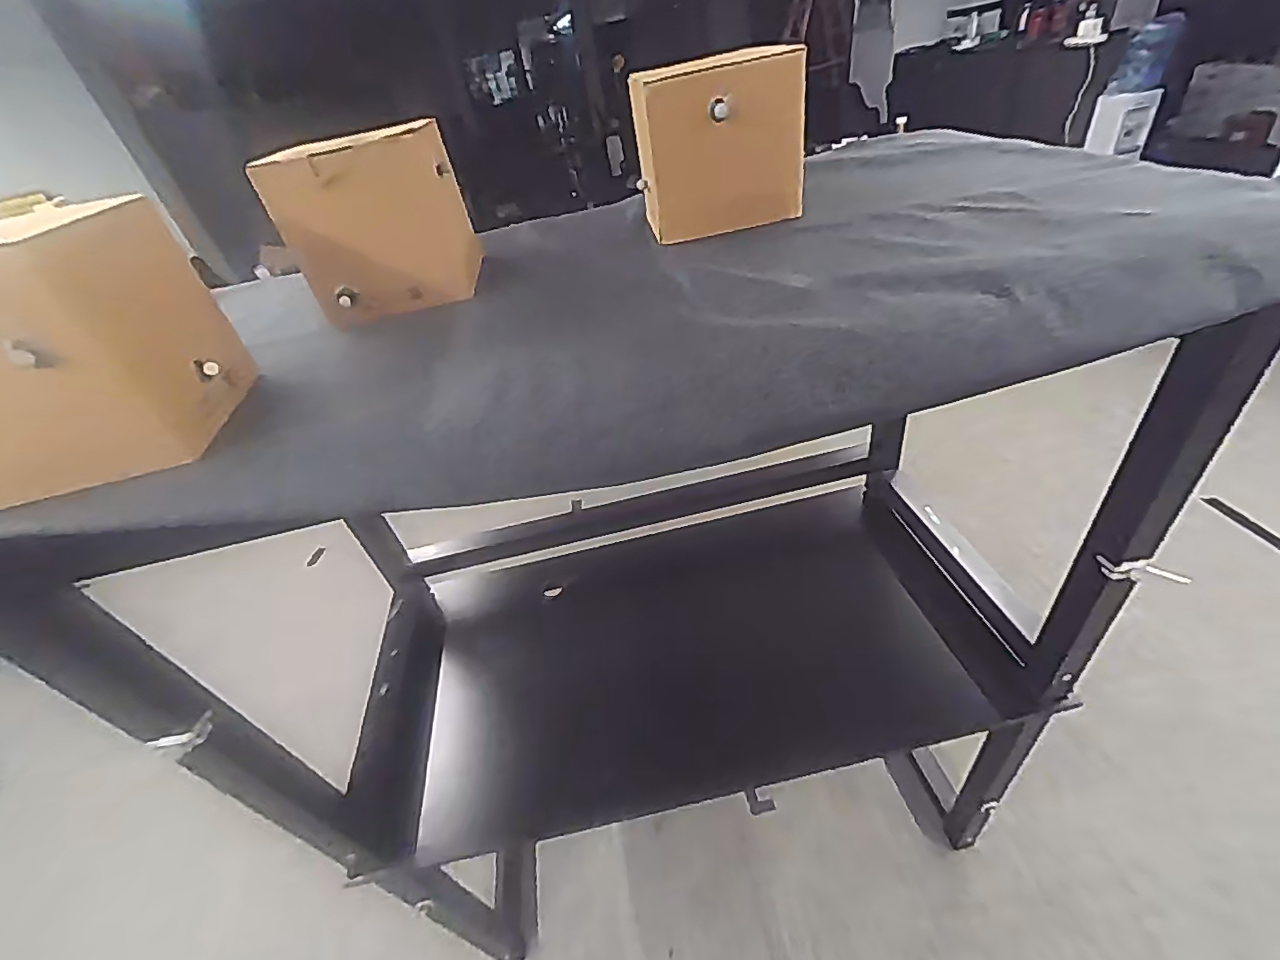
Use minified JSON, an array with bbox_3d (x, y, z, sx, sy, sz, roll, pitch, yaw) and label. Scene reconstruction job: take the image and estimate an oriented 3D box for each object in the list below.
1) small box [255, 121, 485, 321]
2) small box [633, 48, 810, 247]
[{"bbox_3d":[-0.294,-0.302,0.638,0.168,0.176,0.179,-13,37,-1],"label":"small box"},{"bbox_3d":[0.096,-0.409,0.667,0.179,0.176,0.168,-12,38,2],"label":"small box"}]
